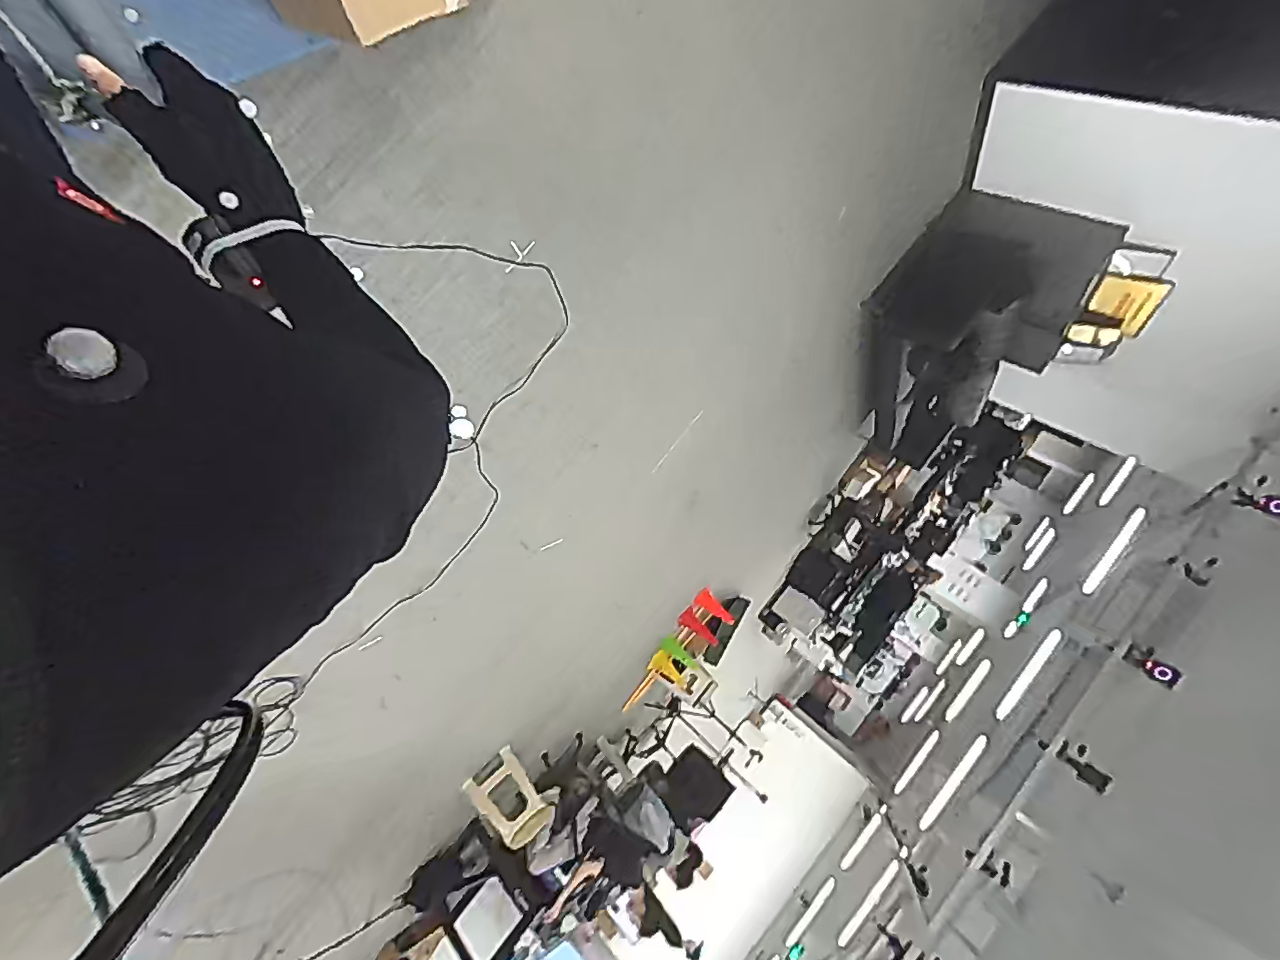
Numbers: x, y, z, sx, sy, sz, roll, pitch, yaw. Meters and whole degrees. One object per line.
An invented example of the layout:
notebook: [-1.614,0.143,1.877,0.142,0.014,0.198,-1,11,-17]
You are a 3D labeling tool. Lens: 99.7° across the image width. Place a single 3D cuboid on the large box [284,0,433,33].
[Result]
large box: [-0.427,-0.921,0.731,0.320,0.320,0.408,-43,148,-17]
